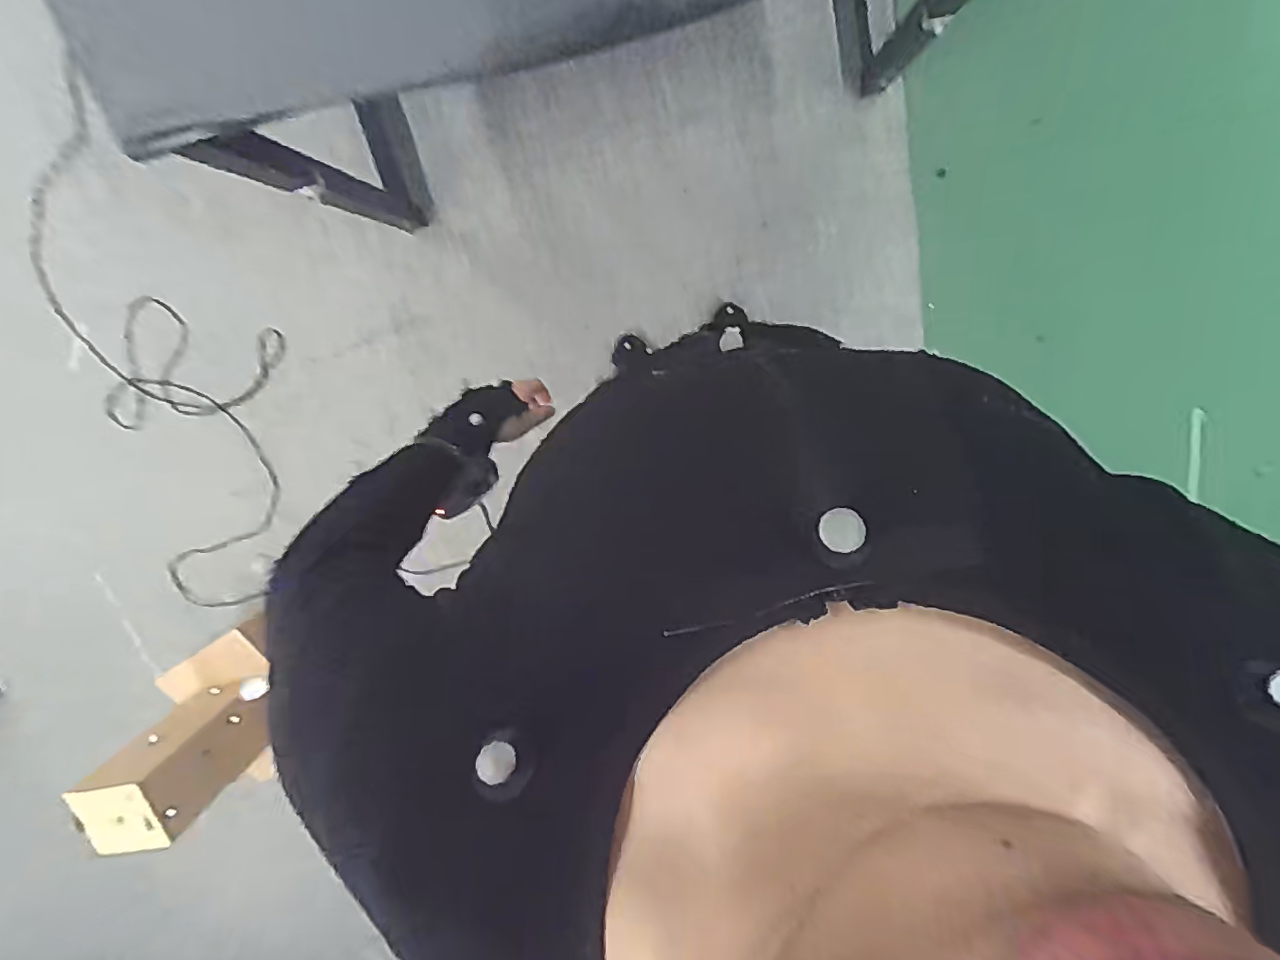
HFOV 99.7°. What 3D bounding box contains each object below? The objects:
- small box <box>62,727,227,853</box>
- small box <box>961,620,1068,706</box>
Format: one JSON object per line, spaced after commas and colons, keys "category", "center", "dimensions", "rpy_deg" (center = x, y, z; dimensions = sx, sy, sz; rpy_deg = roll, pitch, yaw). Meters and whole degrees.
{"category": "small box", "center": [-1.067, 0.670, 1.181], "dimensions": [0.179, 0.176, 0.168], "rpy_deg": [-10, 106, 7]}
{"category": "small box", "center": [1.018, 0.499, 1.487], "dimensions": [0.179, 0.176, 0.168], "rpy_deg": [-1, 108, 4]}
